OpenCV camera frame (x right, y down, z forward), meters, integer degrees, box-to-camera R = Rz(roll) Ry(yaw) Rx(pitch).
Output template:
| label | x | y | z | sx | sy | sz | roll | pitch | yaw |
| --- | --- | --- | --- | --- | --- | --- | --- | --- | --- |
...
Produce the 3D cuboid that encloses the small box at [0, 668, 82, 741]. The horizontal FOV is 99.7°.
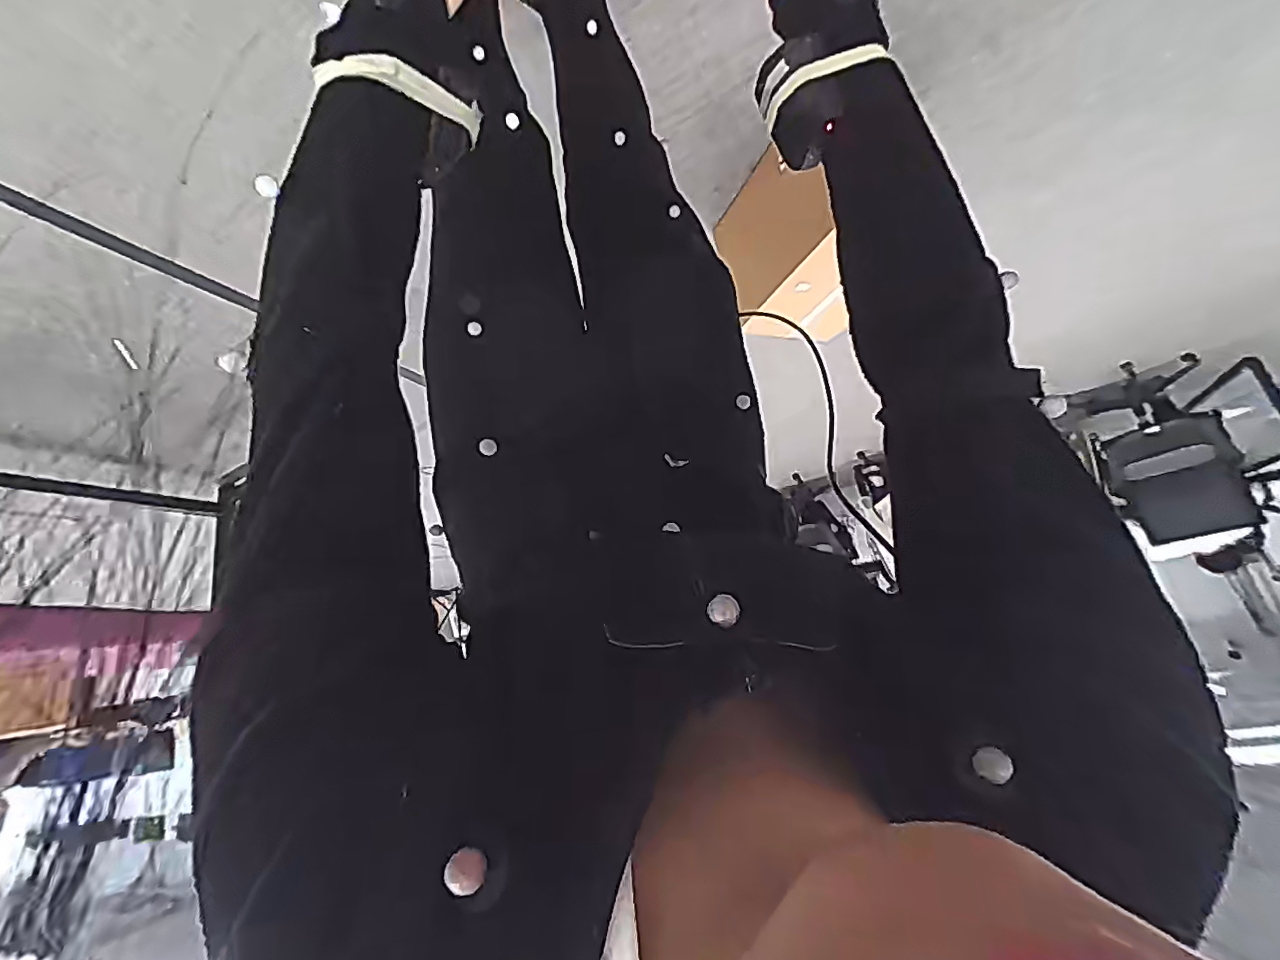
| label | x | y | z | sx | sy | sz | roll | pitch | yaw |
| --- | --- | --- | --- | --- | --- | --- | --- | --- | --- |
| small box | -1.740 | 0.638 | 1.540 | 0.179 | 0.176 | 0.168 | -19 | 160 | 23 |
